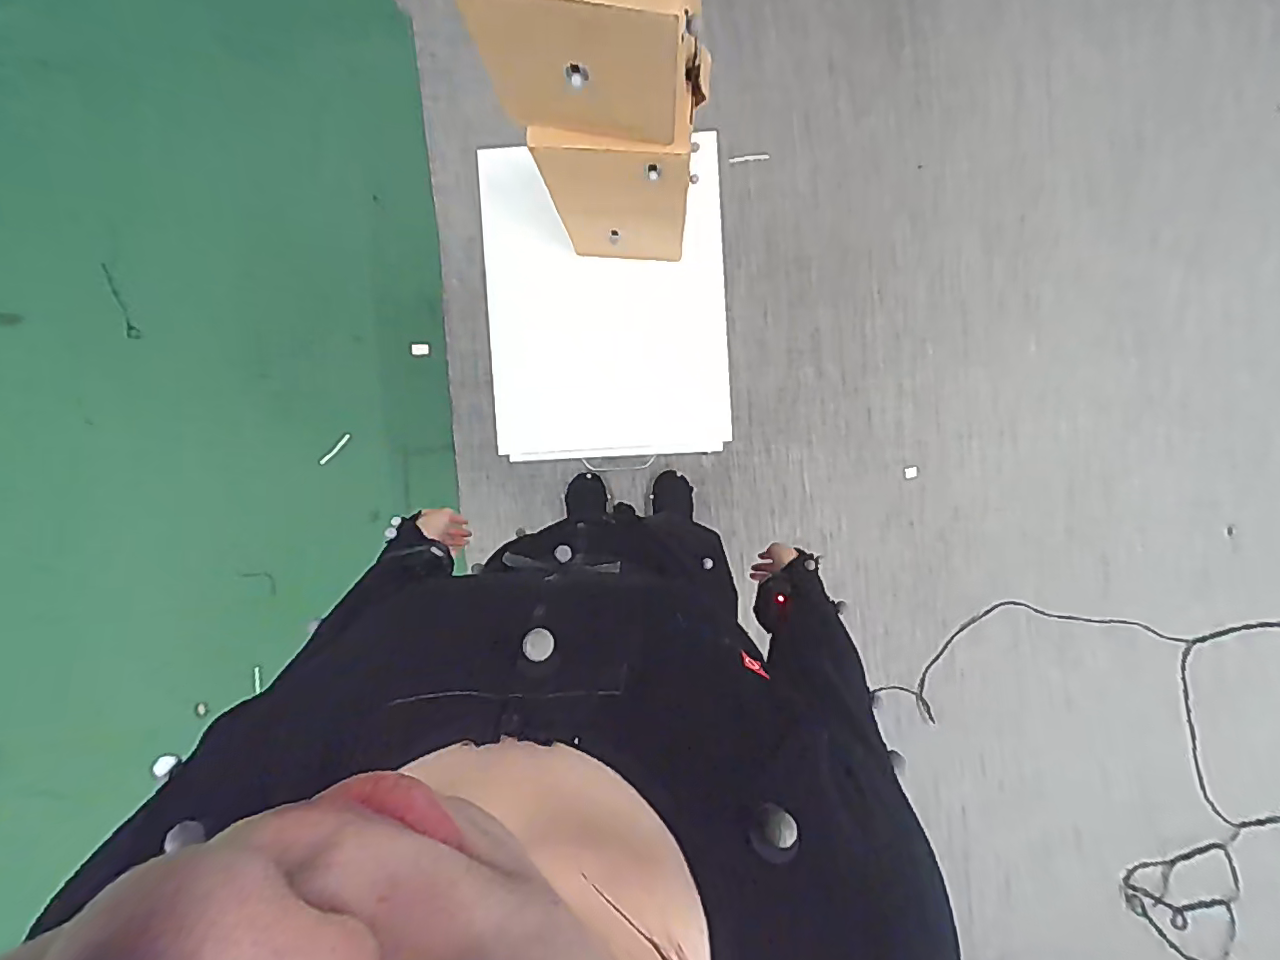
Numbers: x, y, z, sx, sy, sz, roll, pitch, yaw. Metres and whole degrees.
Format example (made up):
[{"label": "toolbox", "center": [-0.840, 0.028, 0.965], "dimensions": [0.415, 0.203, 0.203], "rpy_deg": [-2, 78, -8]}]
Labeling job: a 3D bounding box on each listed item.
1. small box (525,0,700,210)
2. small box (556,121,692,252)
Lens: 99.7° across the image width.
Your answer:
[{"label": "small box", "center": [-0.027, -0.439, 0.639], "dimensions": [0.179, 0.176, 0.168], "rpy_deg": [3, 94, 1]}, {"label": "small box", "center": [-0.017, -0.452, 0.801], "dimensions": [0.179, 0.176, 0.168], "rpy_deg": [4, 94, 2]}]
